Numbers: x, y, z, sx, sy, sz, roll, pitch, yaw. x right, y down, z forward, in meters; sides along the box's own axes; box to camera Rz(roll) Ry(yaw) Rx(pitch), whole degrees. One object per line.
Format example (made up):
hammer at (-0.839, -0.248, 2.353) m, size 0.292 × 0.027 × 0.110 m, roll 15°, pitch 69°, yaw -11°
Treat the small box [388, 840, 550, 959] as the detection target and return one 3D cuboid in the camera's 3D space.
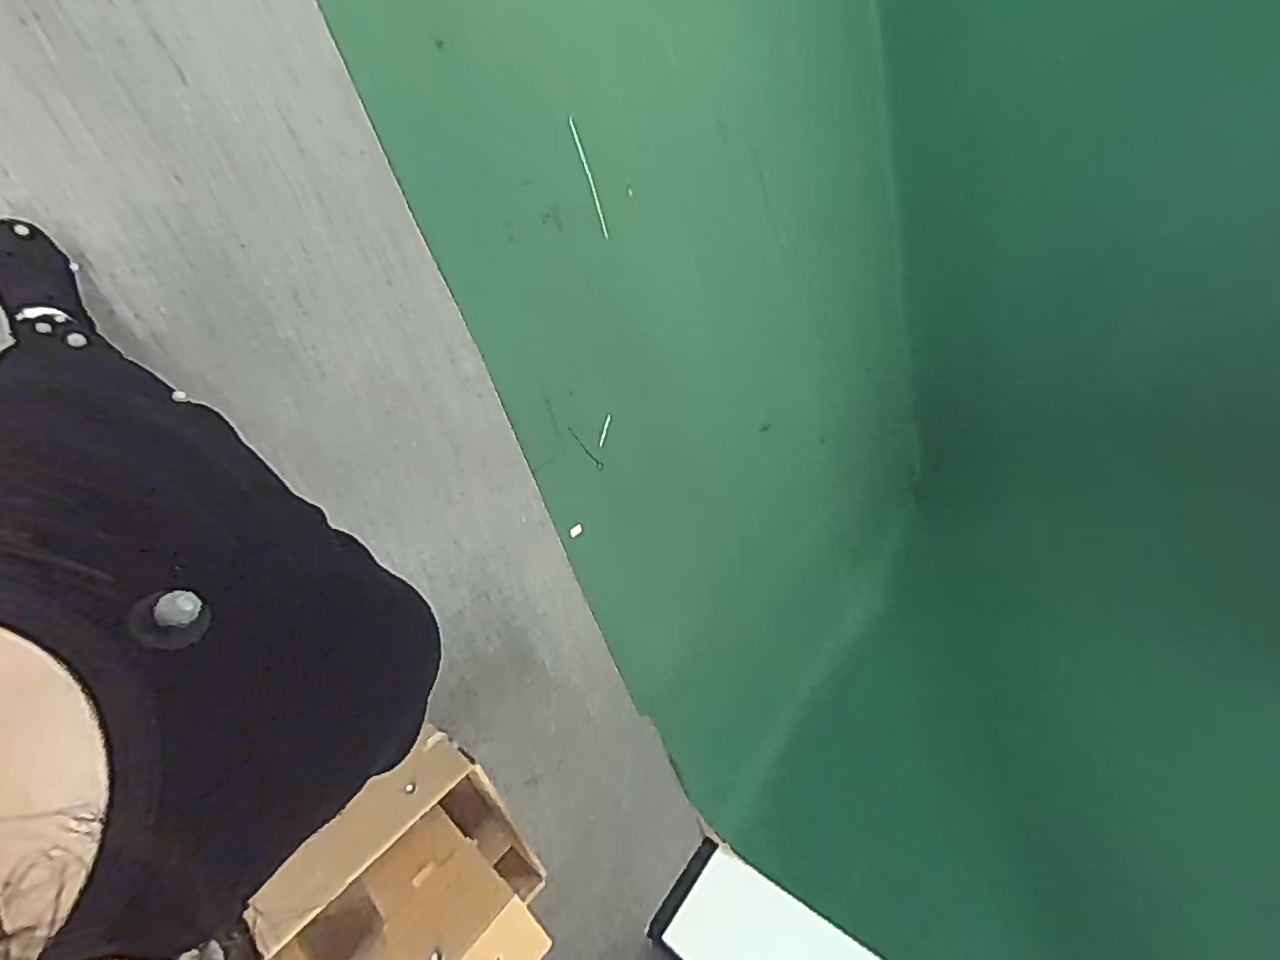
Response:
small box at (-0.293, 0.775, 0.927) m, size 0.179 × 0.176 × 0.168 m, roll -36°, pitch 119°, yaw -33°
